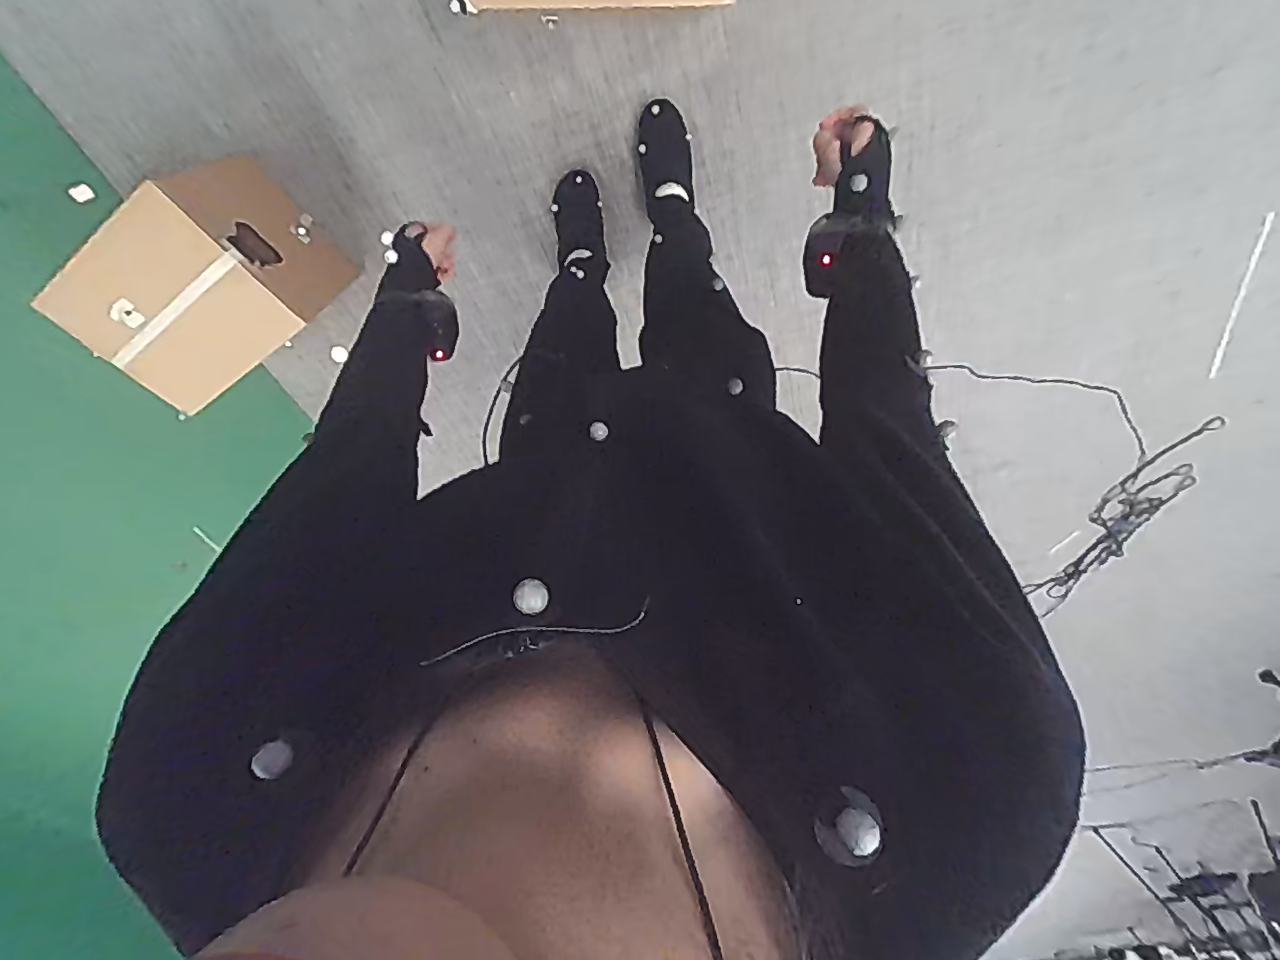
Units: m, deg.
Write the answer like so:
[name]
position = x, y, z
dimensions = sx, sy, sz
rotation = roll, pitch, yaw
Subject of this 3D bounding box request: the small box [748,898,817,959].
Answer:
[small box]
position = 0.424, 1.372, 1.608
dimensions = 0.179, 0.176, 0.168
rotation = -14, 129, 9

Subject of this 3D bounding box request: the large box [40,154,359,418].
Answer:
[large box]
position = -0.908, -0.414, 1.166
dimensions = 0.408, 0.320, 0.320
rotation = -26, 125, 19
